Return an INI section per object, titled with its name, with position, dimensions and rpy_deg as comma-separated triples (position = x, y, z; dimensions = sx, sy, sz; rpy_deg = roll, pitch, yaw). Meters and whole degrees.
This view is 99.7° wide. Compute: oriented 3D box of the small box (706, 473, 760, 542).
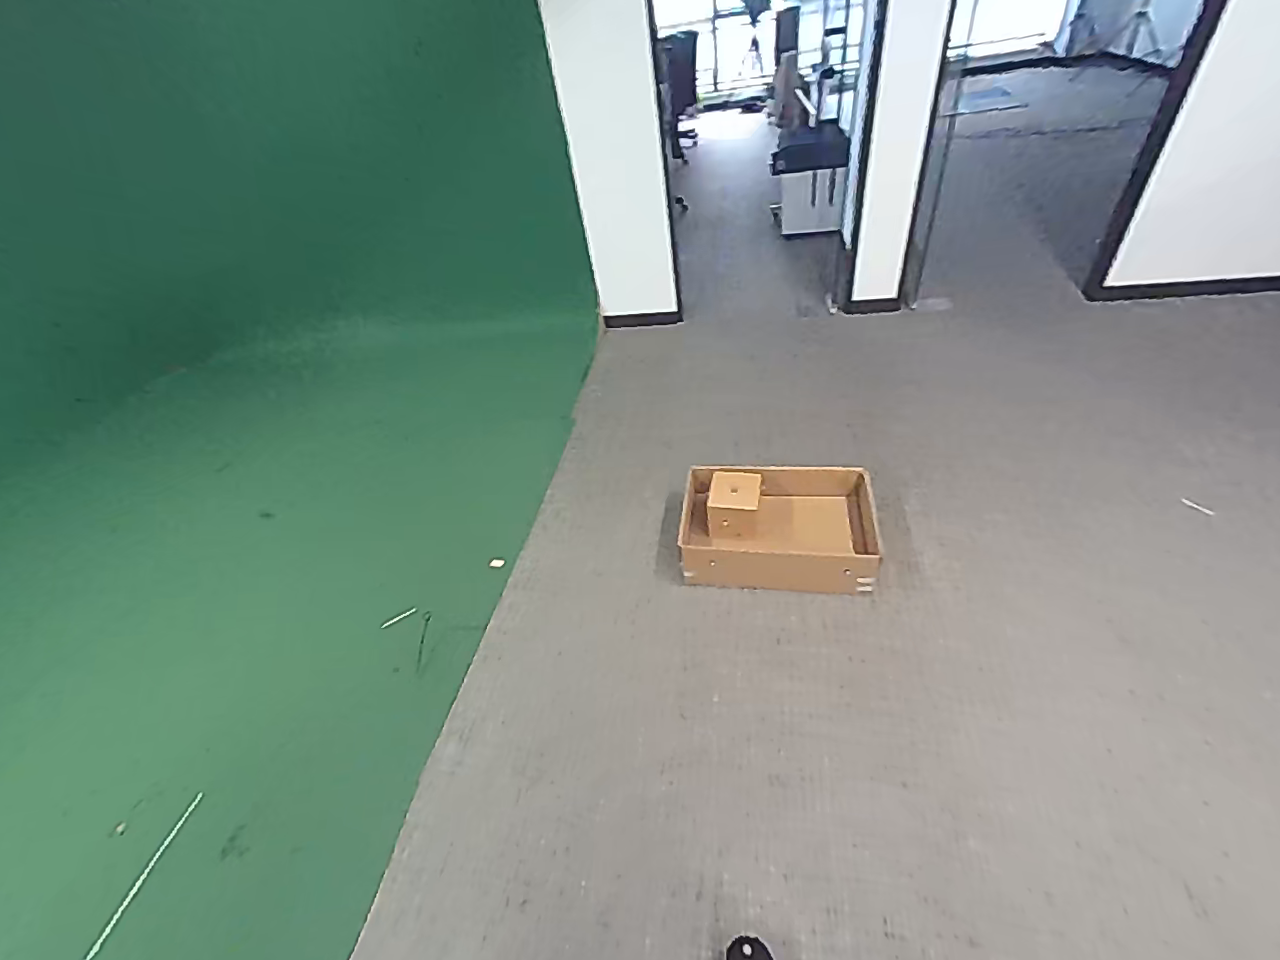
[small box]
position = 0.330, 0.098, 1.887
dimensions = 0.168, 0.176, 0.179
rpy_deg = 4, 44, 15
